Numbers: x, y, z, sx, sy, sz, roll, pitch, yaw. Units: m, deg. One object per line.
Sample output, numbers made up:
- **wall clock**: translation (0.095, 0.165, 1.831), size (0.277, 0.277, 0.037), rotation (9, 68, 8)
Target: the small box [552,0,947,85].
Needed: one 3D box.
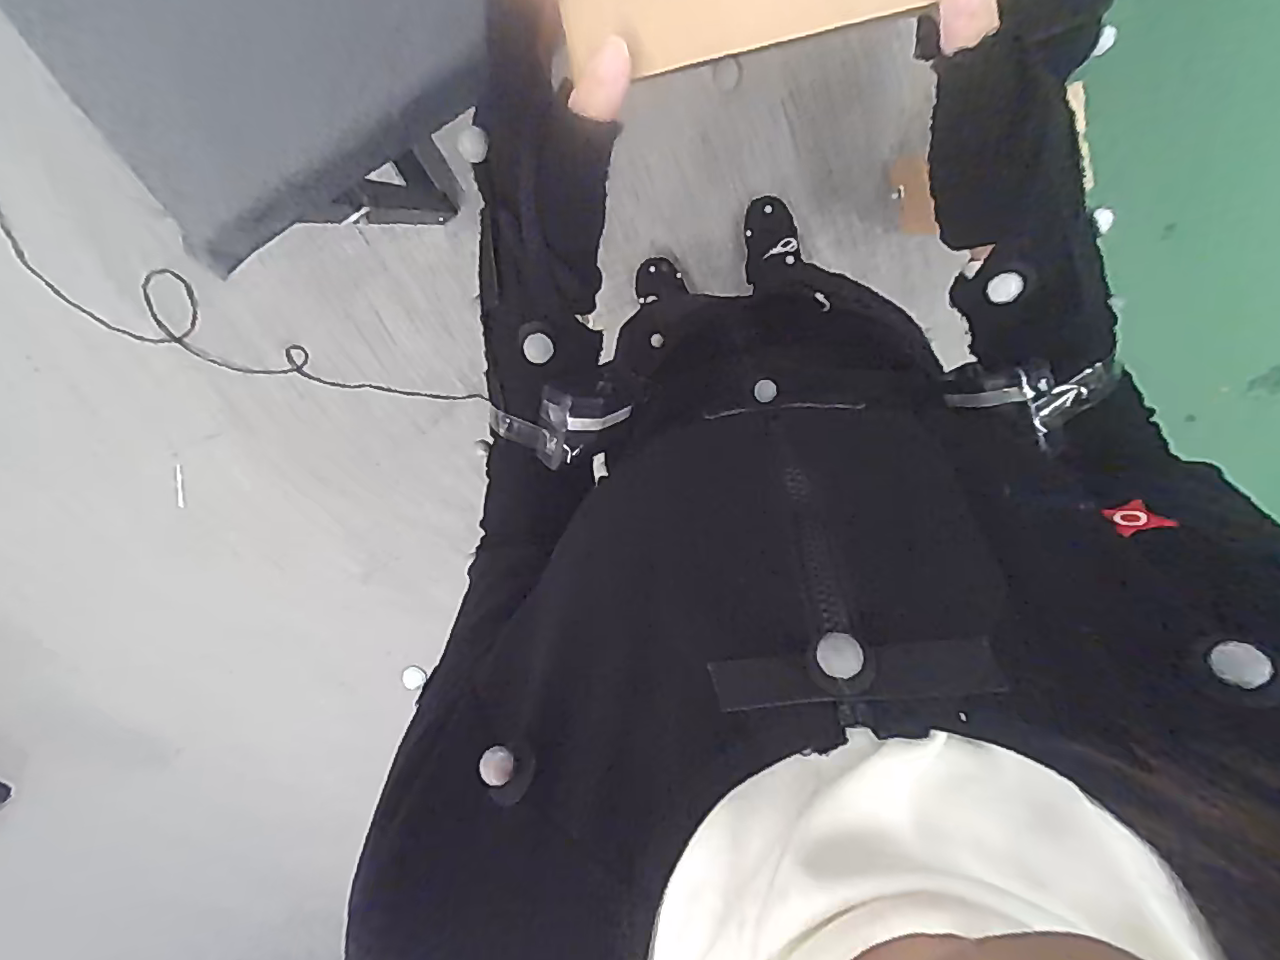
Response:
- **small box**: translation (0.043, -0.287, 0.233), size (0.179, 0.176, 0.168), rotation (-9, 125, 6)

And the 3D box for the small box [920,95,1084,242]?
- **small box**: translation (0.639, -0.545, 0.968), size (0.179, 0.176, 0.168), rotation (-21, 111, 11)
